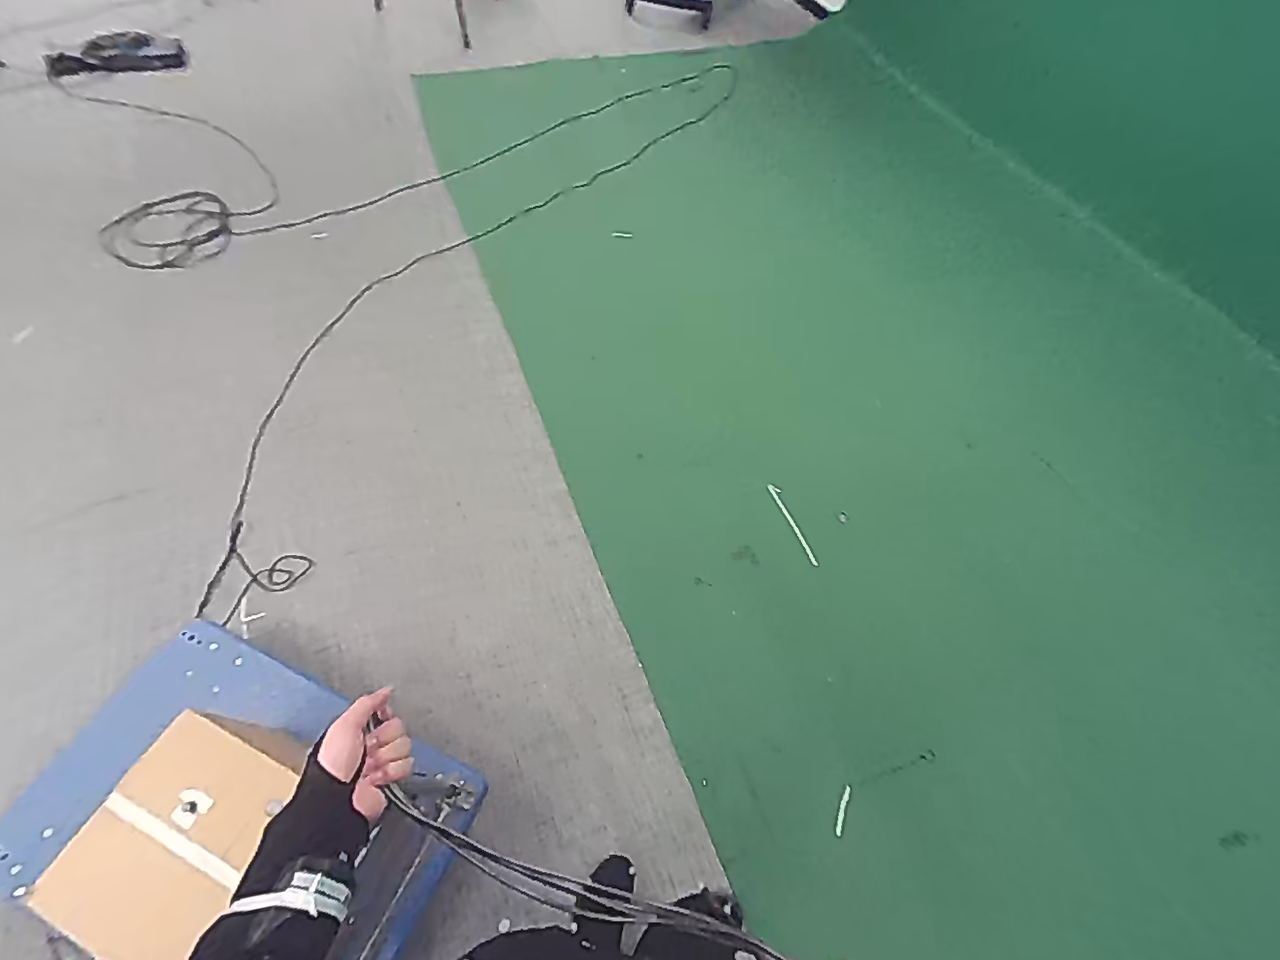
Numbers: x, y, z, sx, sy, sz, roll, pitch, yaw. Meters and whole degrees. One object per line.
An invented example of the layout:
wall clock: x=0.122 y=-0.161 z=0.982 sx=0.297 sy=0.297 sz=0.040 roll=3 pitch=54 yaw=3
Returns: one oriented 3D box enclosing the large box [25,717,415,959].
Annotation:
large box: x=-0.709 y=0.693 z=0.993 sx=0.408 sy=0.320 sz=0.320 roll=23 pitch=59 yaw=11
